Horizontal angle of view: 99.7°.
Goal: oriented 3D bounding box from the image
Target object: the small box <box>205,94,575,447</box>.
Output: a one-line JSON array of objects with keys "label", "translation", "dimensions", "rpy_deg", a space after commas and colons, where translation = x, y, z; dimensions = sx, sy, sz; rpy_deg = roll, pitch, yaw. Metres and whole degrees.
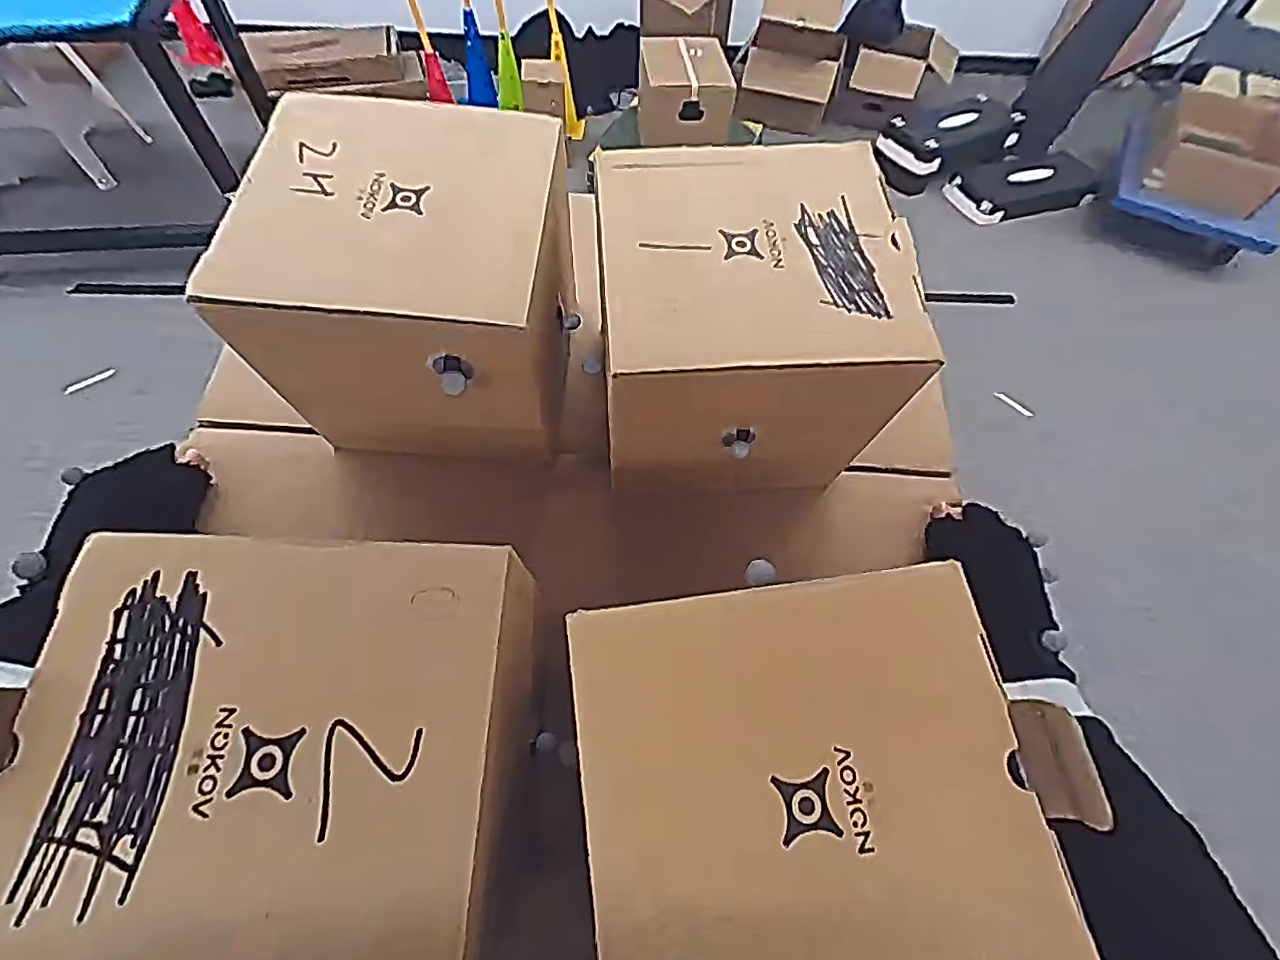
[{"label": "small box", "translation": [-0.145, -0.135, 0.395], "dimensions": [0.179, 0.176, 0.168], "rpy_deg": [5, 66, -1]}]
